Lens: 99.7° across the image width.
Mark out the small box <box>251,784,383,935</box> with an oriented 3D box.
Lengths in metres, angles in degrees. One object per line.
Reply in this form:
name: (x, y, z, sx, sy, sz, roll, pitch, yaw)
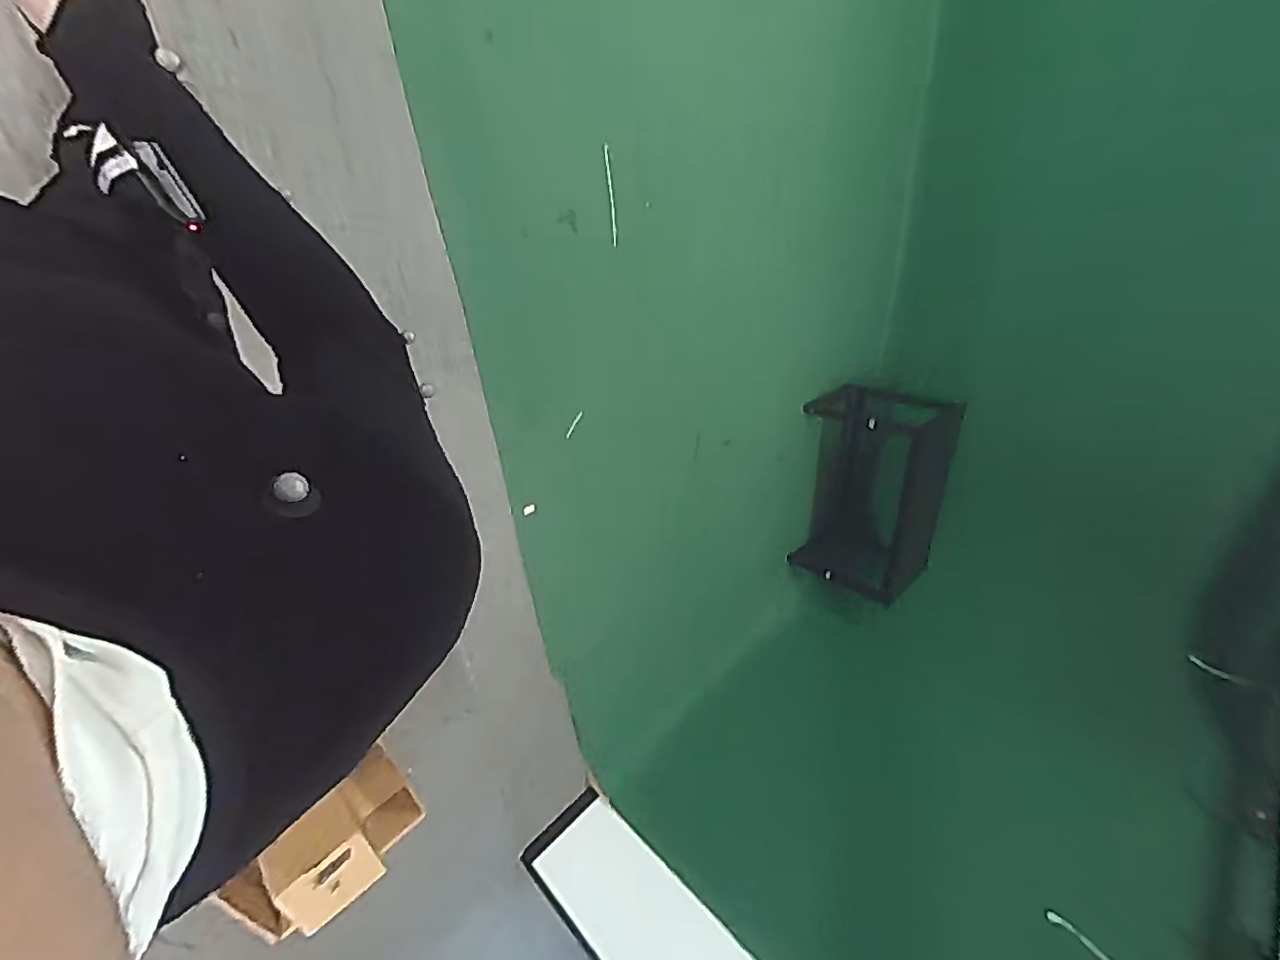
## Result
small box: (-0.677, 0.781, 1.134, 0.168, 0.176, 0.179, -30, 130, -34)
